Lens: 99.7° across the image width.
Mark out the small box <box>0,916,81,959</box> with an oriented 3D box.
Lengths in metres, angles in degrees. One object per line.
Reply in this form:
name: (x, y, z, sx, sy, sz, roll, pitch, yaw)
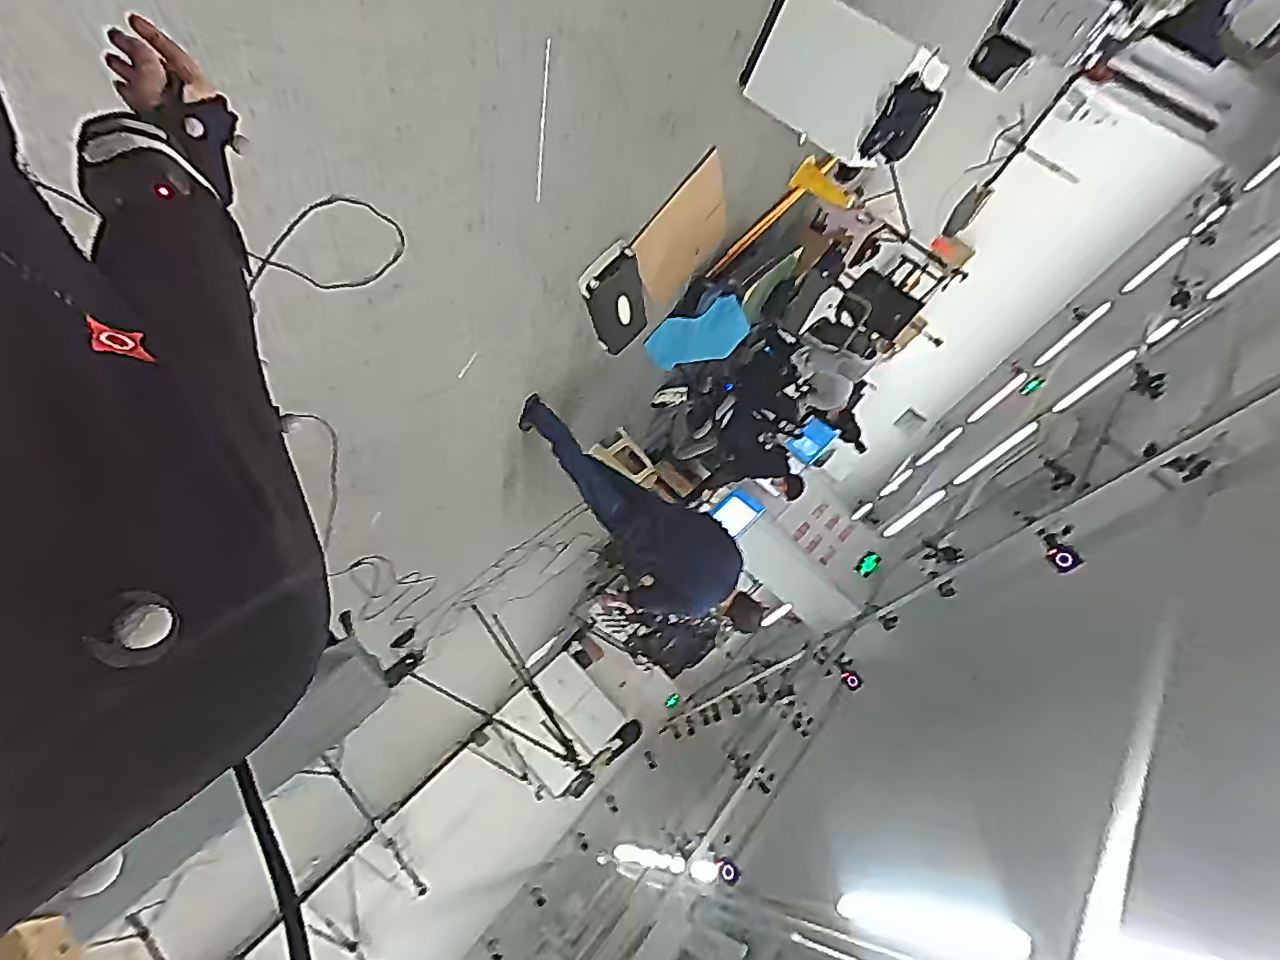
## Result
small box: (-1.403, 1.100, 1.182, 0.179, 0.176, 0.168, -37, 165, -34)
